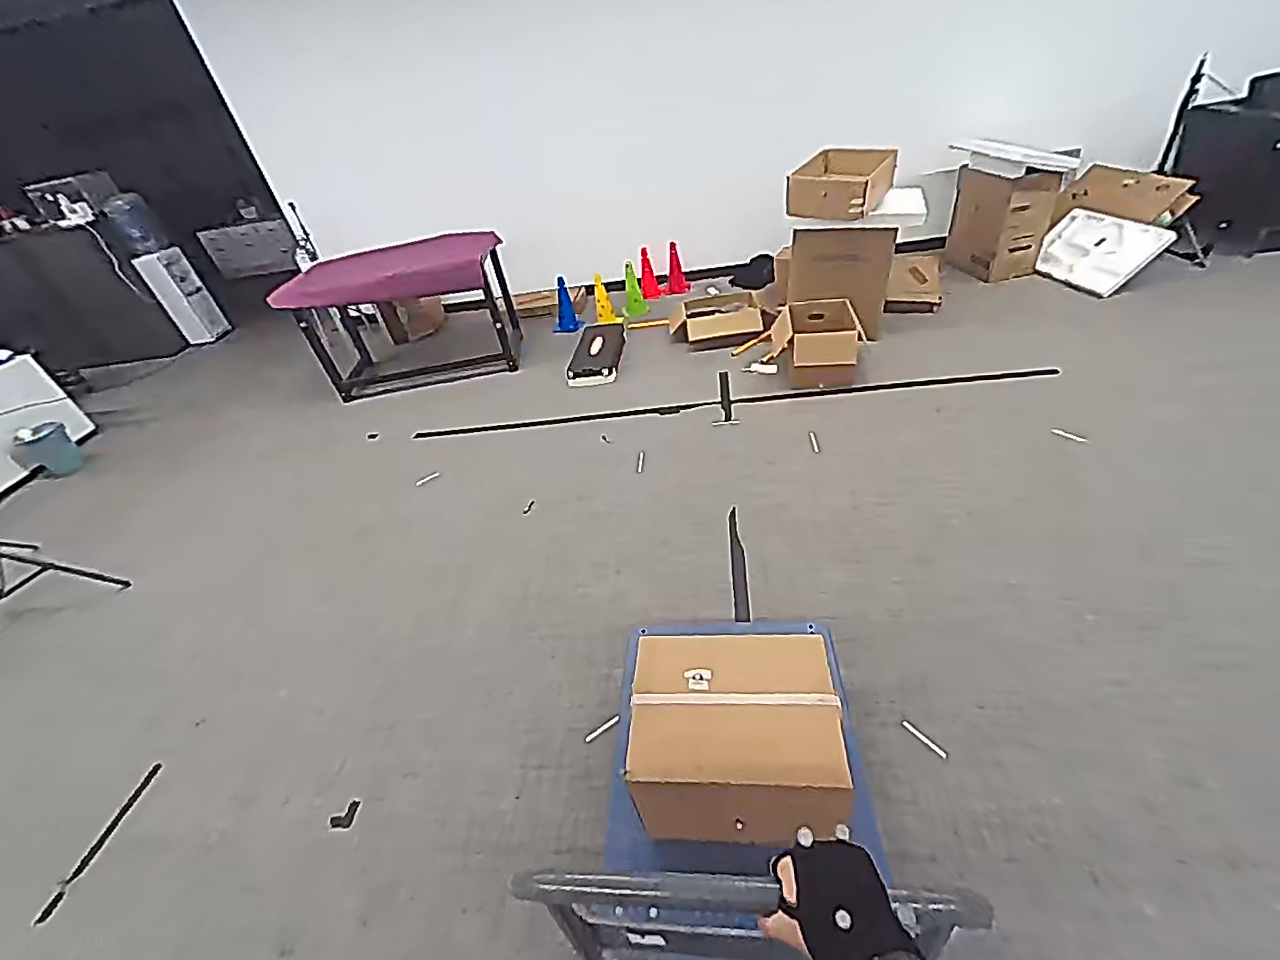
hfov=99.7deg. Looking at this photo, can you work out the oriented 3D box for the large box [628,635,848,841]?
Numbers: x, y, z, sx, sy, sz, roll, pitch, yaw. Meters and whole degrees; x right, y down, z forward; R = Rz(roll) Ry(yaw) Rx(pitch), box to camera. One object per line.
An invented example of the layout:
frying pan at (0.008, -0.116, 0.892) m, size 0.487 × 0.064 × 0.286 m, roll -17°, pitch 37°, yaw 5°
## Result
large box at (0.209, 0.568, 1.187) m, size 0.408 × 0.320 × 0.320 m, roll -5°, pitch 38°, yaw 10°
